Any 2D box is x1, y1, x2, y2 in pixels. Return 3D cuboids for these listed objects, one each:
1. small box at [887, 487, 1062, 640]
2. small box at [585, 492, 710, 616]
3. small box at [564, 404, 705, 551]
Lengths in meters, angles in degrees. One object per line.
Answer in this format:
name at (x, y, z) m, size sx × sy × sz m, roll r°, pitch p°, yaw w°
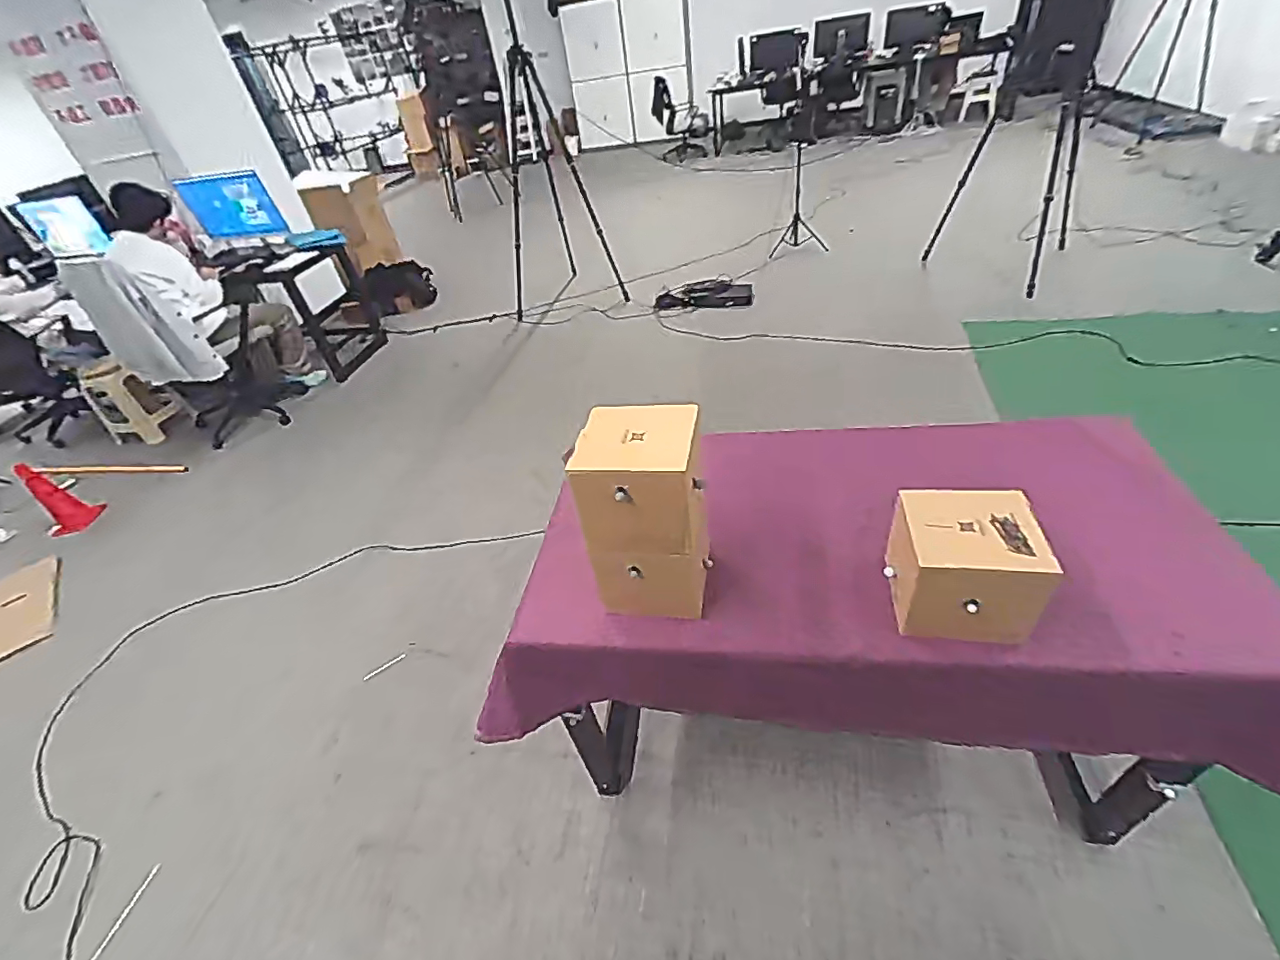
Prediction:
small box at (0.495, 0.128, 0.833) m, size 0.179 × 0.176 × 0.168 m, roll 0°, pitch 41°, yaw 14°
small box at (0.023, 0.122, 0.949) m, size 0.179 × 0.176 × 0.168 m, roll 1°, pitch 41°, yaw 14°
small box at (0.004, -0.002, 0.845) m, size 0.179 × 0.176 × 0.168 m, roll 0°, pitch 41°, yaw 14°
